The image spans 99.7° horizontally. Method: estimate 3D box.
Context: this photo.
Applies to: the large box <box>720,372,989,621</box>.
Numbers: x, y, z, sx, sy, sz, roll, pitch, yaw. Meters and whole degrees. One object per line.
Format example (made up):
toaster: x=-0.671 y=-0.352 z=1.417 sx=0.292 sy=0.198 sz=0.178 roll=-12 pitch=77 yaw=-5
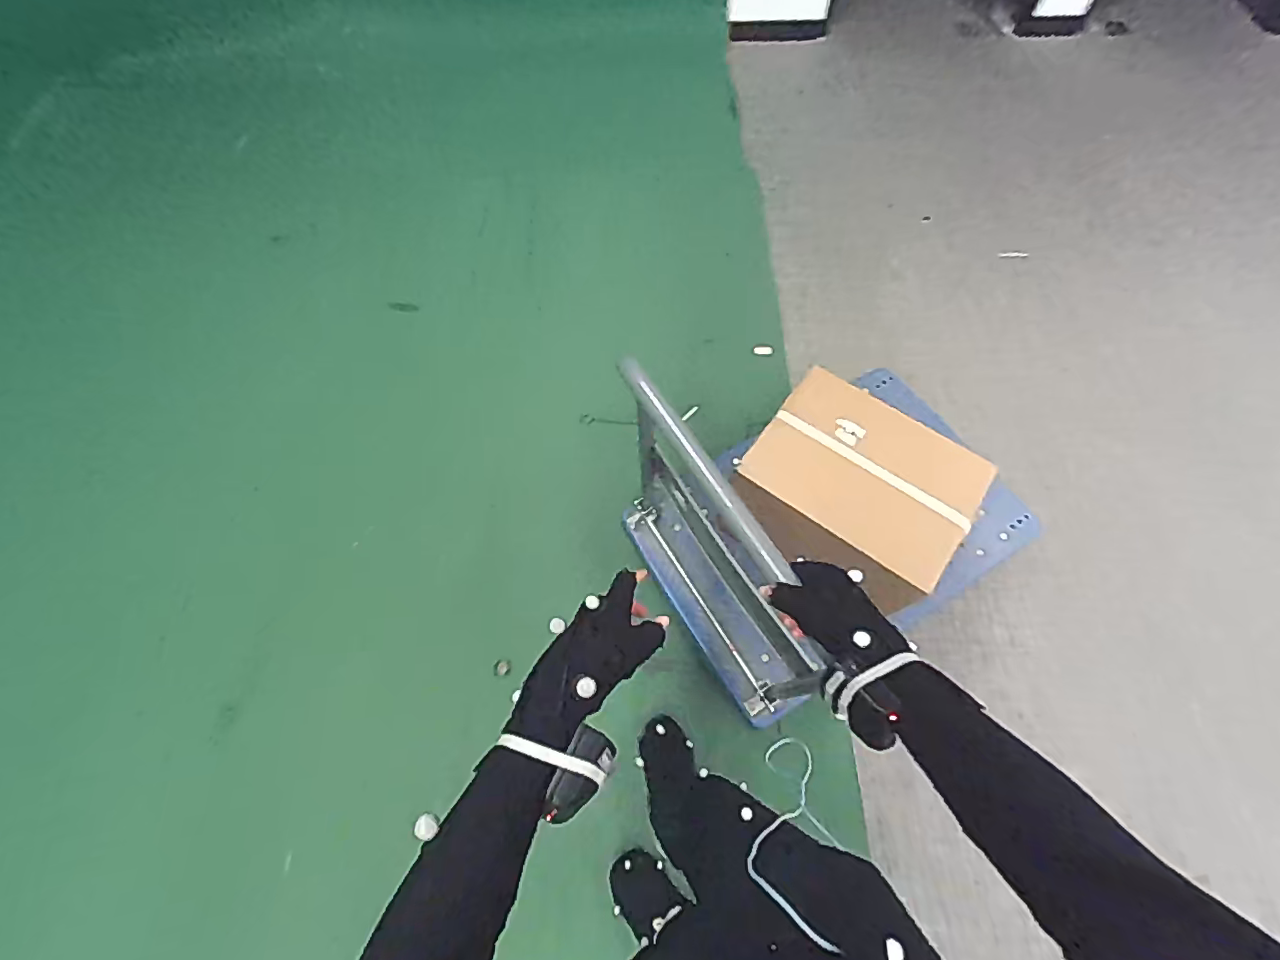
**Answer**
large box: x=0.434 y=0.045 z=1.179 sx=0.408 sy=0.320 sz=0.320 roll=34 pitch=69 yaw=17
